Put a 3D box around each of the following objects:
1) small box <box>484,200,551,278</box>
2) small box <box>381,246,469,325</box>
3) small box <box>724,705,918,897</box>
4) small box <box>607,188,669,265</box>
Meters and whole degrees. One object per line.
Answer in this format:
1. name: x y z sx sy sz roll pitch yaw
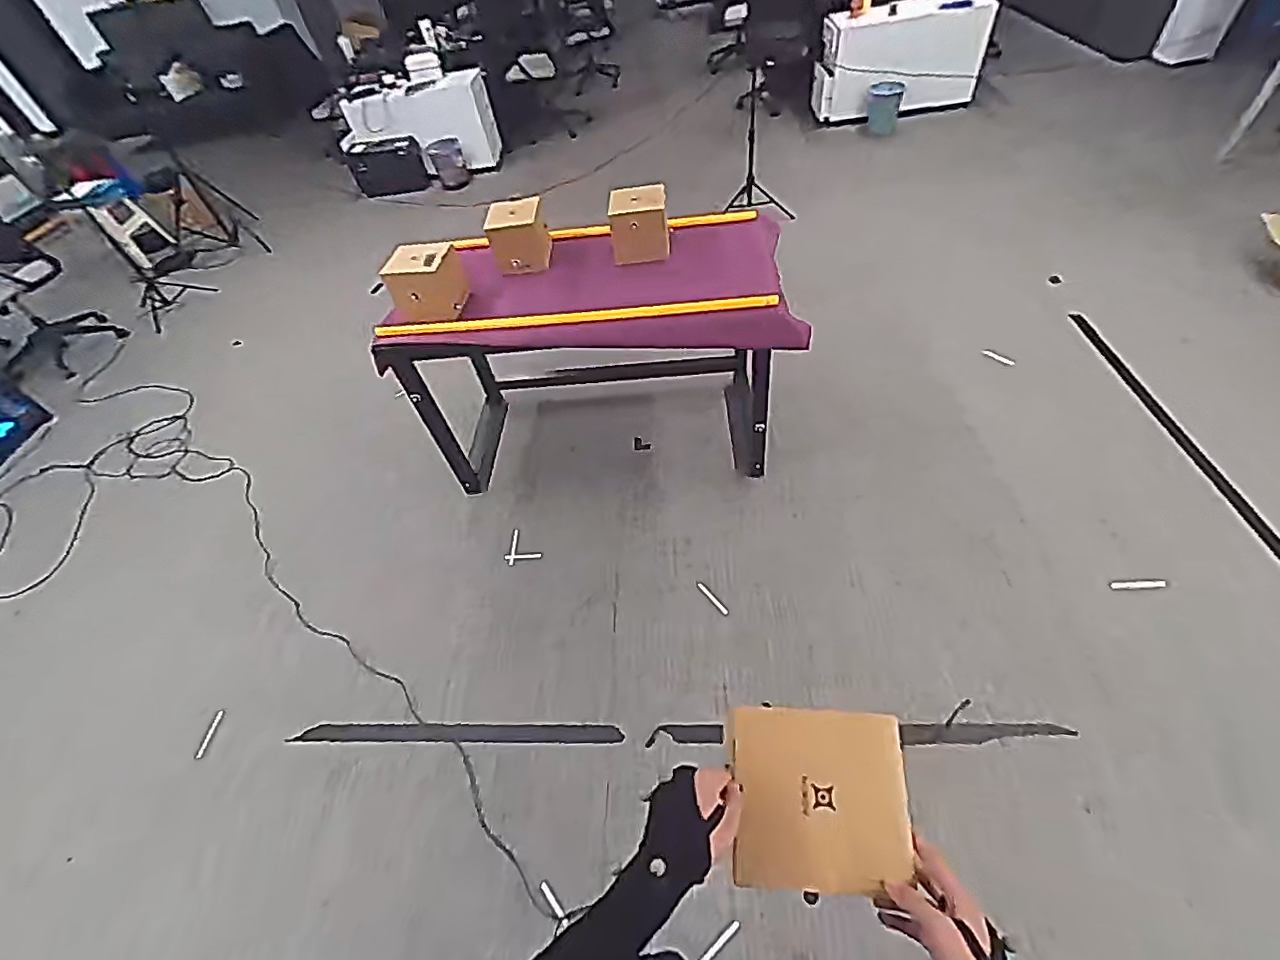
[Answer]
1. small box: -0.399 -0.798 1.796 0.168 0.176 0.179 -5 51 6
2. small box: -0.652 -0.596 1.666 0.179 0.176 0.168 0 51 9
3. small box: 0.190 0.352 0.624 0.179 0.176 0.168 -1 66 7
4. small box: -0.002 -0.811 1.740 0.179 0.176 0.168 -3 52 7
